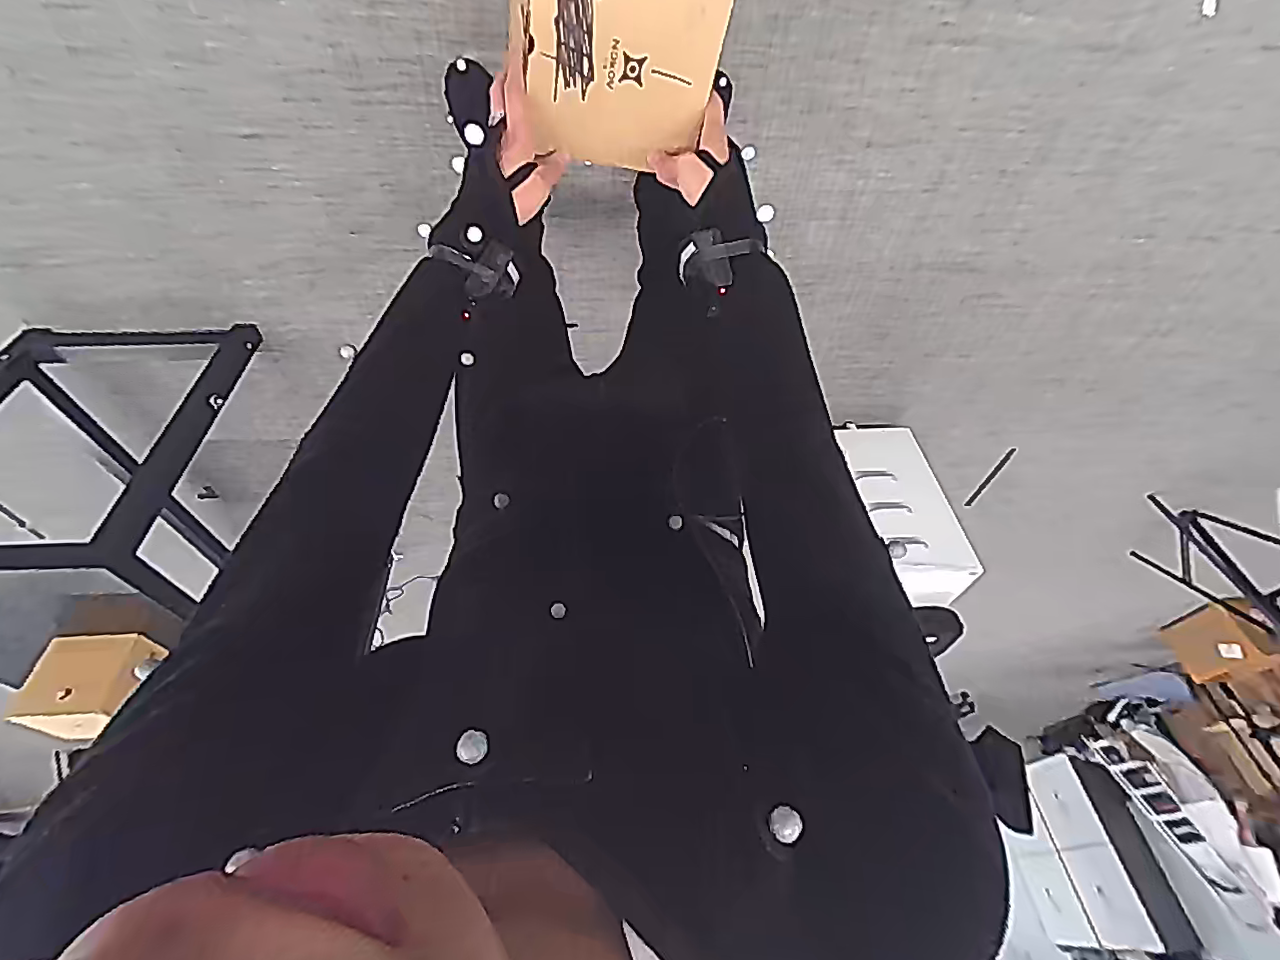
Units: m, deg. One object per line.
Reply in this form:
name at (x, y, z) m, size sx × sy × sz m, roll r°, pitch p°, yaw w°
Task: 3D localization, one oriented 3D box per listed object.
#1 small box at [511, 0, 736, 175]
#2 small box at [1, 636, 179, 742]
small box at (-0.030, -0.426, 0.526) m, size 0.179 × 0.176 × 0.168 m, roll -2°, pitch 138°, yaw -18°
small box at (-1.161, 0.448, 1.163) m, size 0.179 × 0.176 × 0.168 m, roll -2°, pitch 141°, yaw -4°
